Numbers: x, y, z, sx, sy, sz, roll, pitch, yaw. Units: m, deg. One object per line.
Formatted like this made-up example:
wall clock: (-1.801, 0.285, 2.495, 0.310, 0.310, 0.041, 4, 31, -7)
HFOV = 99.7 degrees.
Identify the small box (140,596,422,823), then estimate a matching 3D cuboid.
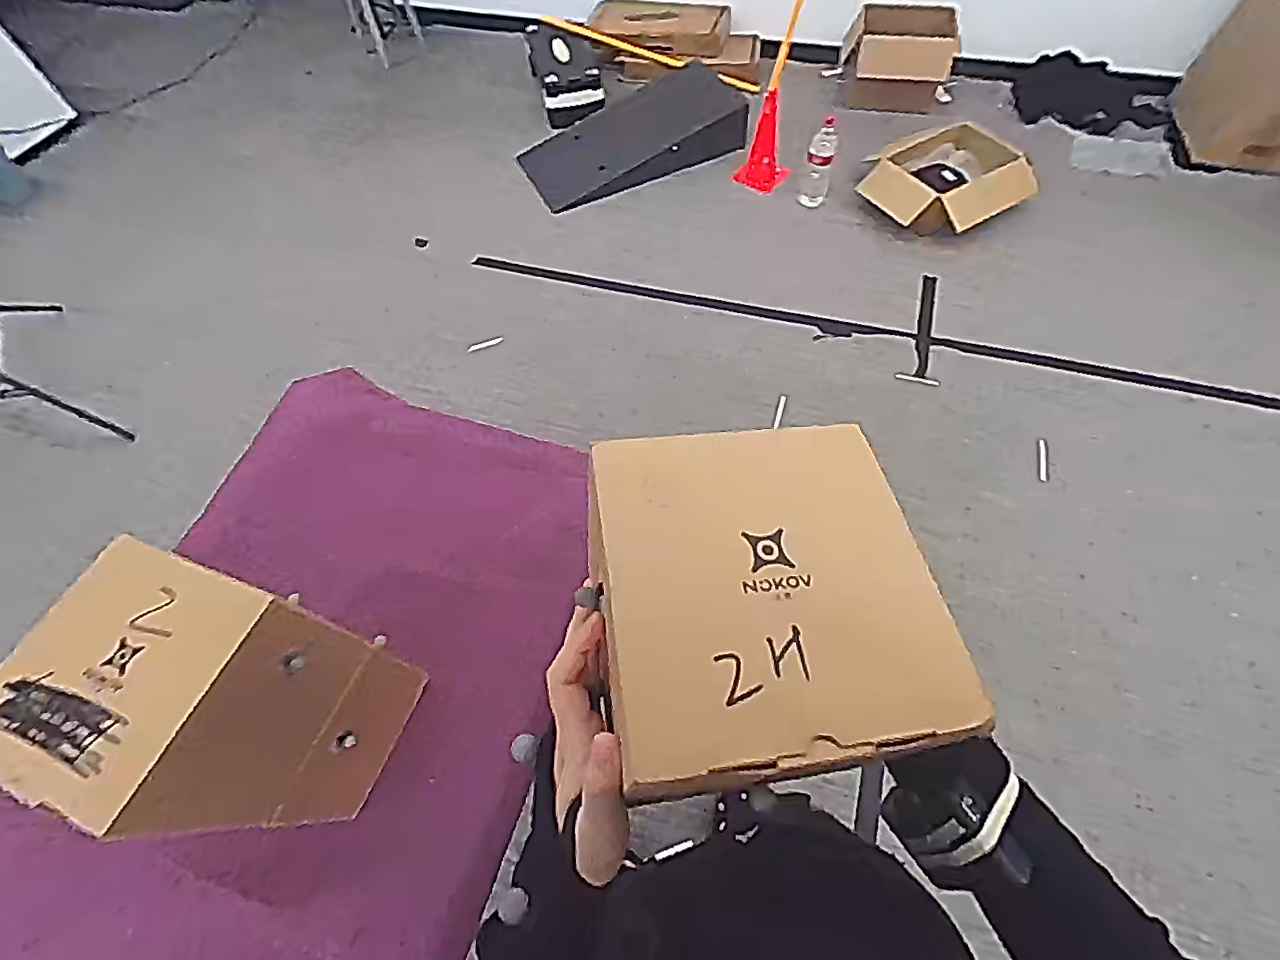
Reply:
small box: (-0.384, 0.263, 0.620, 0.168, 0.176, 0.179, 17, 62, 11)

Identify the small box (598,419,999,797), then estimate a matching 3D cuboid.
small box: (0.062, 0.084, 0.340, 0.168, 0.176, 0.179, -5, 57, -7)
